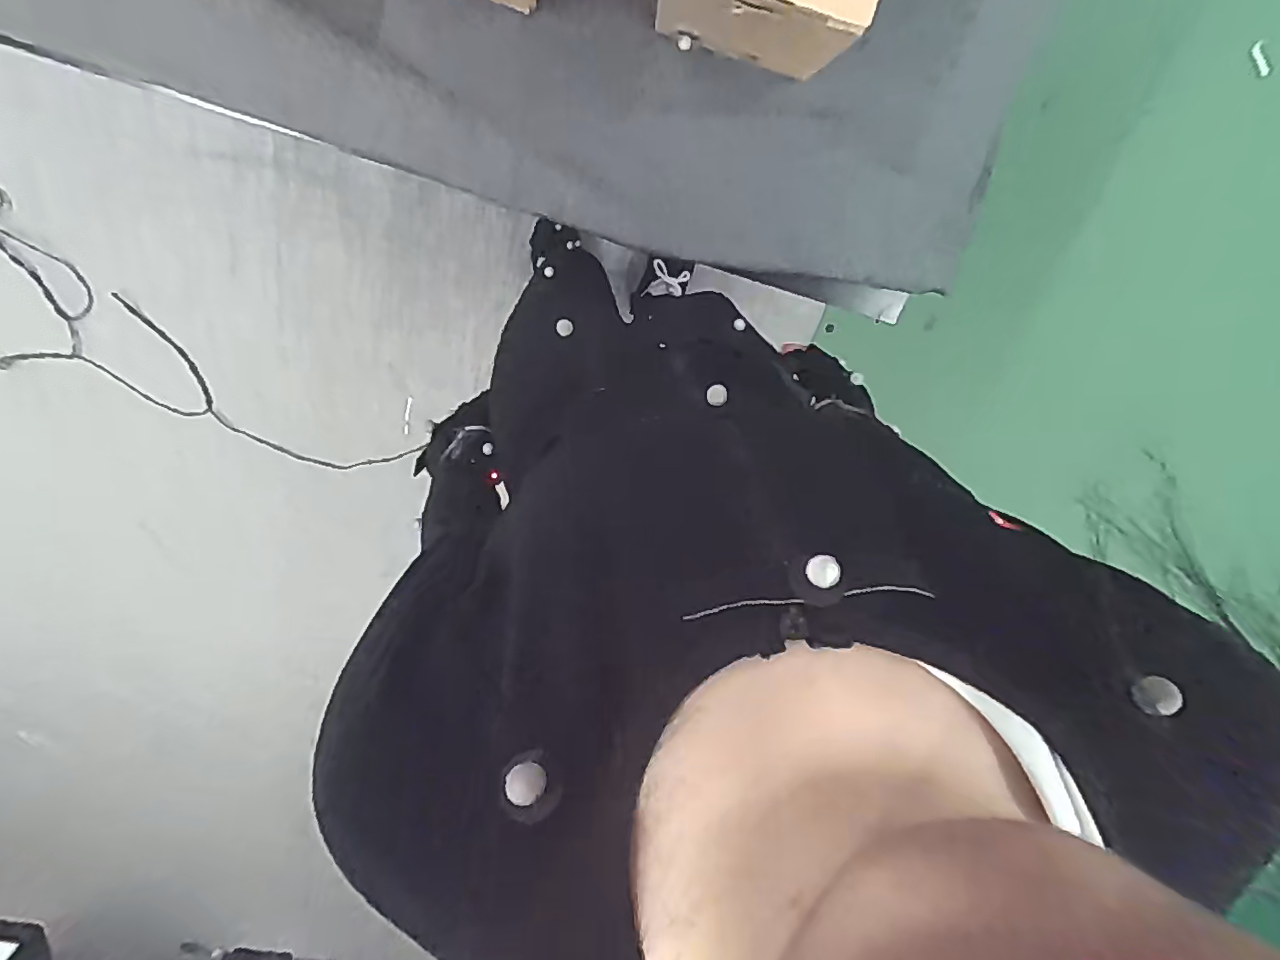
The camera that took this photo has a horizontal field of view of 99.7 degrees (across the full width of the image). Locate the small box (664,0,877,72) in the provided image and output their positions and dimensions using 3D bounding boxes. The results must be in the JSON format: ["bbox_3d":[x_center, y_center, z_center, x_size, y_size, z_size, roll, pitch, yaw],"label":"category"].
[{"bbox_3d":[0.119,-0.475,0.446,0.168,0.176,0.179,13,115,-7],"label":"small box"}]
